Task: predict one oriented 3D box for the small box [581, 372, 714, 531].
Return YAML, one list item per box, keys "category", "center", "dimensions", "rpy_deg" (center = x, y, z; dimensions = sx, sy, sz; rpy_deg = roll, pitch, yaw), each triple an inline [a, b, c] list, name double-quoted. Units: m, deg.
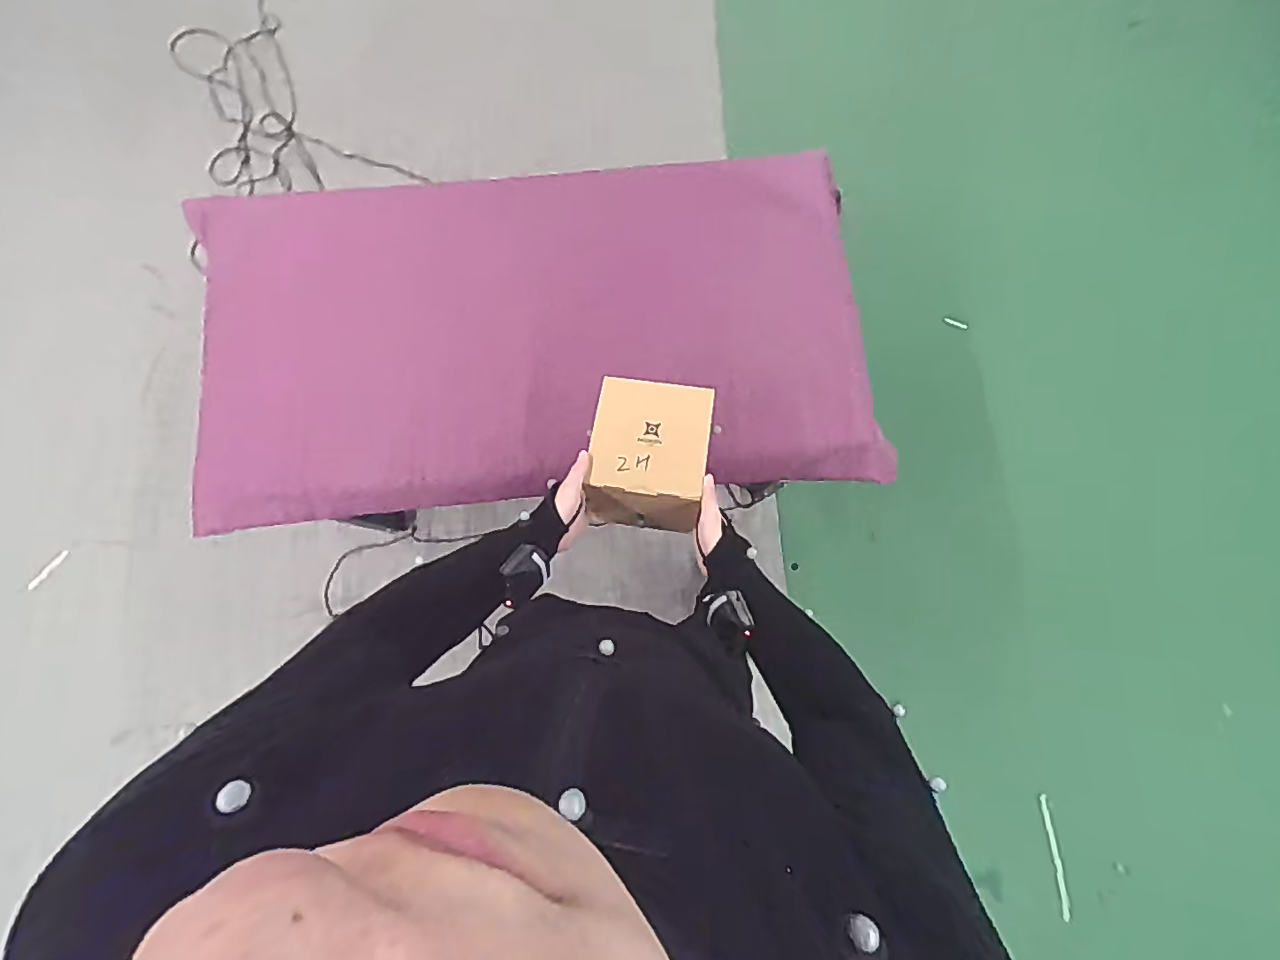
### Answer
- category: "small box"
  center: [0.014, -0.038, 0.832]
  dimensions: [0.168, 0.176, 0.179]
  rpy_deg: [8, 69, 5]
